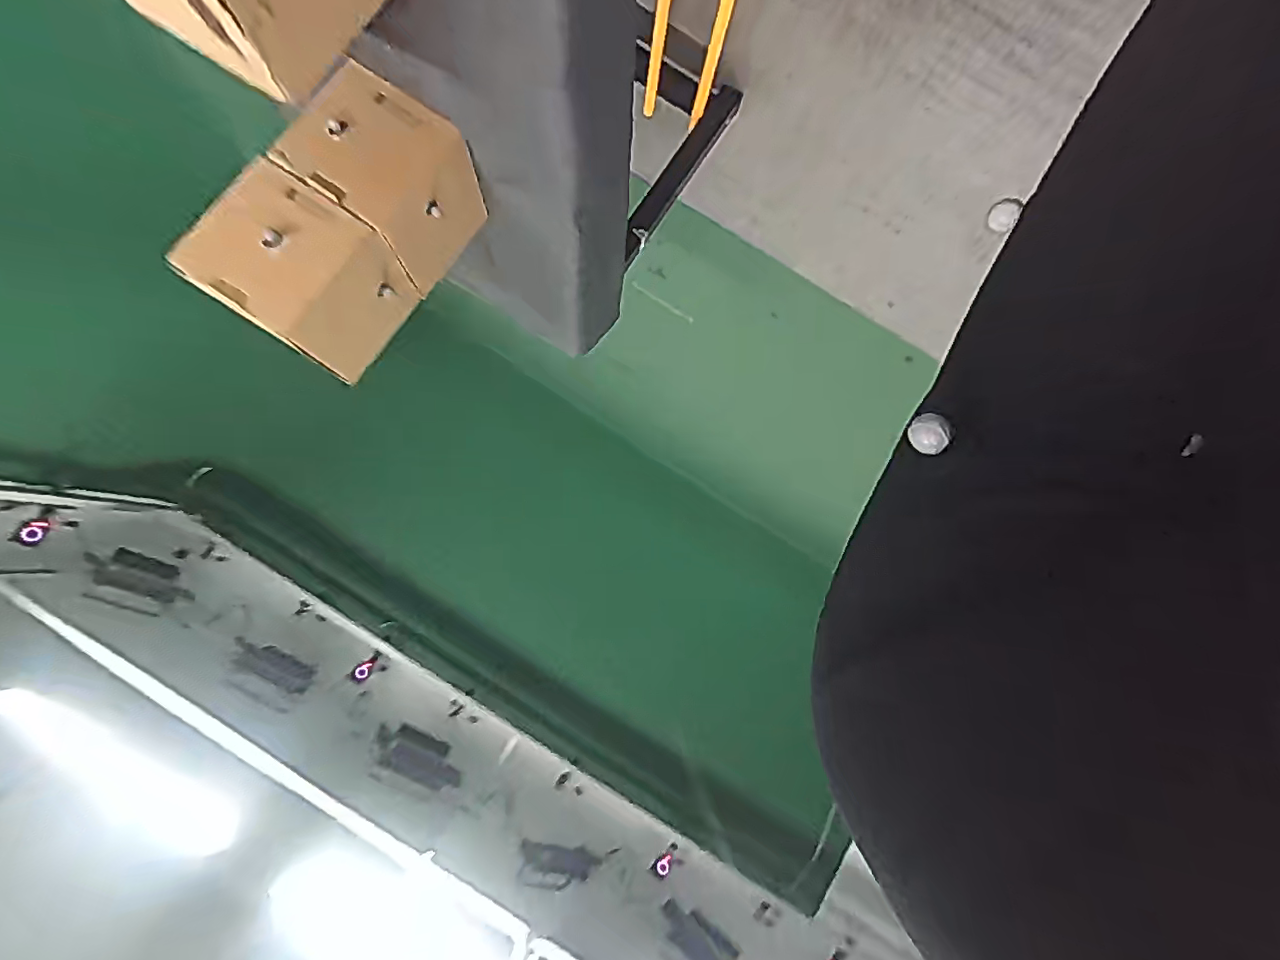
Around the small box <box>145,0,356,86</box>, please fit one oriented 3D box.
[{"bbox_3d":[-0.317,-0.453,0.388,0.179,0.176,0.168,33,170,1],"label":"small box"}]

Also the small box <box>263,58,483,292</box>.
[{"bbox_3d":[-0.335,-0.397,0.721,0.168,0.176,0.179,34,171,0],"label":"small box"}]

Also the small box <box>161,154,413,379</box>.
[{"bbox_3d":[-0.430,-0.266,0.694,0.168,0.176,0.179,33,170,1],"label":"small box"}]
